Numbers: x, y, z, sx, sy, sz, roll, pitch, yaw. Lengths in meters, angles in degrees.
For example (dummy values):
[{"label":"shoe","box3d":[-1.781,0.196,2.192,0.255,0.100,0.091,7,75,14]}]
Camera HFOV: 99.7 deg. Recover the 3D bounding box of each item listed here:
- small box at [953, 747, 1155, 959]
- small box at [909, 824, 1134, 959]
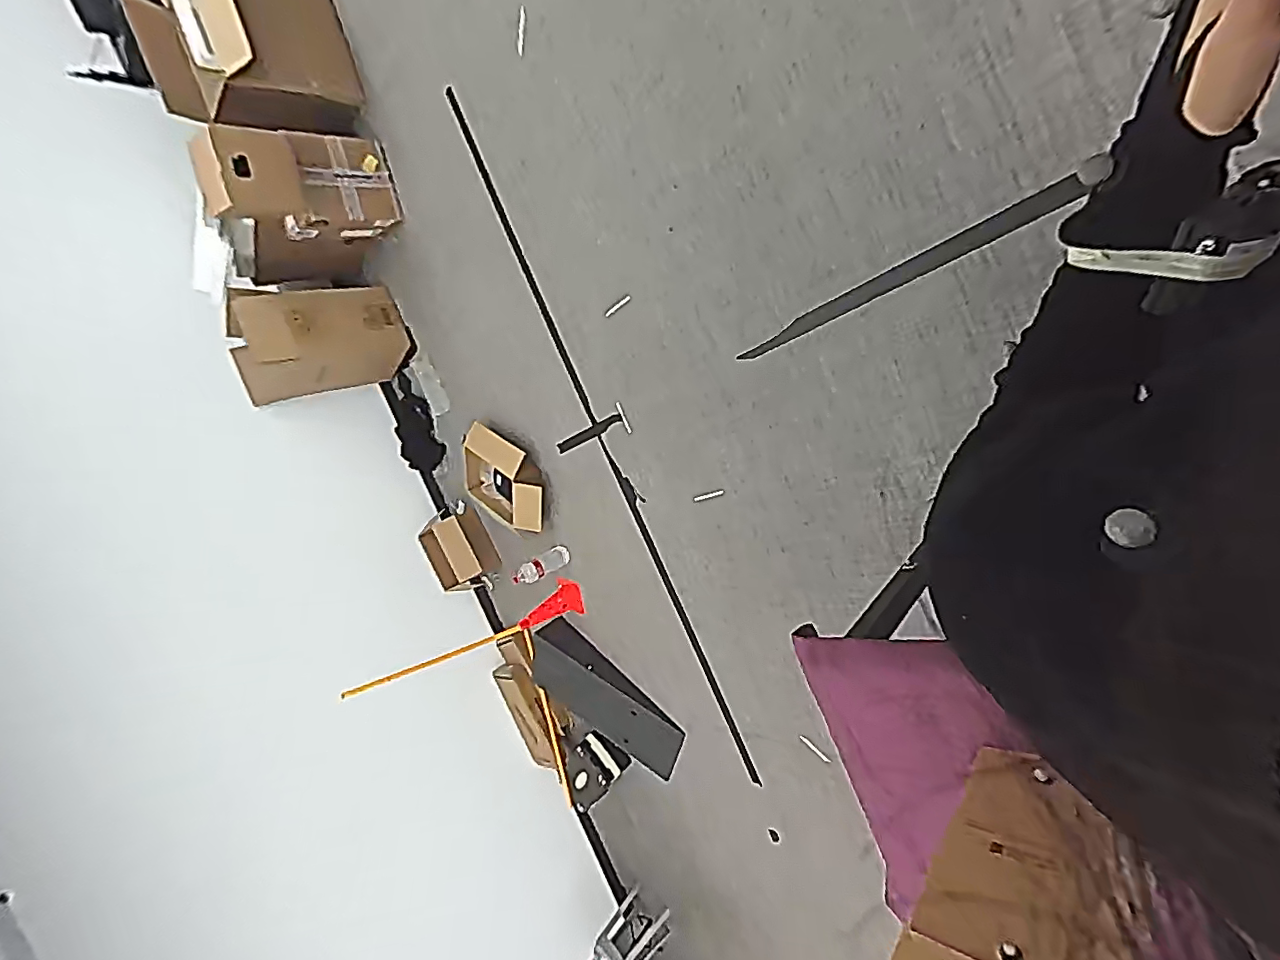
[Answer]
[{"label":"small box","box3d":[0.555,0.499,0.722,0.168,0.176,0.179,-16,97,49]},{"label":"small box","box3d":[0.441,0.548,0.616,0.168,0.176,0.179,-13,101,48]}]
